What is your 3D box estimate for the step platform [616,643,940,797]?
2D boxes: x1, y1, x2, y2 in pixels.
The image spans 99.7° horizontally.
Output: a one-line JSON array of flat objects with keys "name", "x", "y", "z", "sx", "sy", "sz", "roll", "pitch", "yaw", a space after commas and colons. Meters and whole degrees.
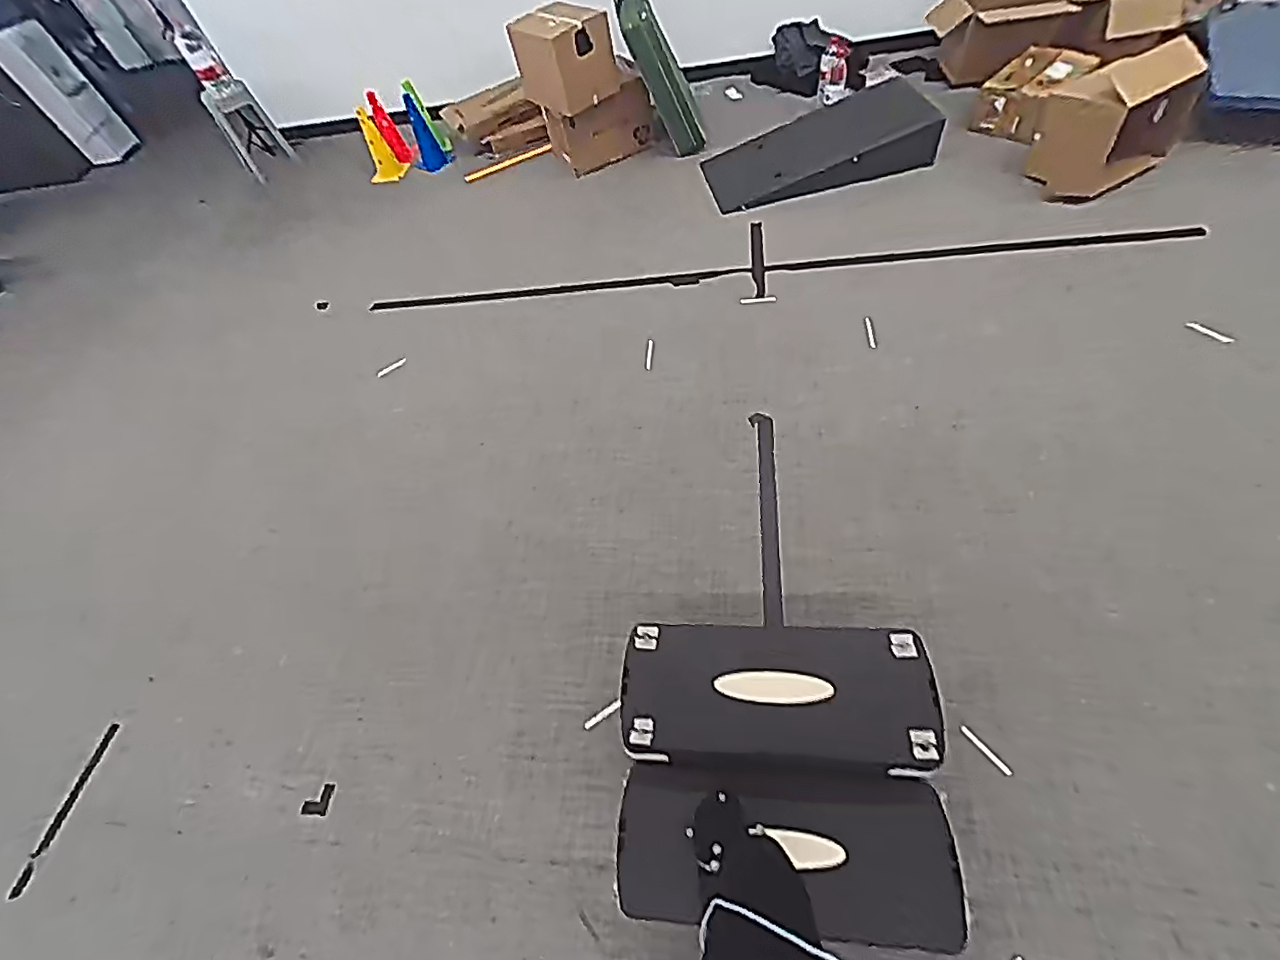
[{"name": "step platform", "x": 0.287, "y": 0.533, "z": 1.223, "sx": 0.684, "sy": 0.204, "sz": 0.286, "roll": -2, "pitch": 56, "yaw": 8}]
